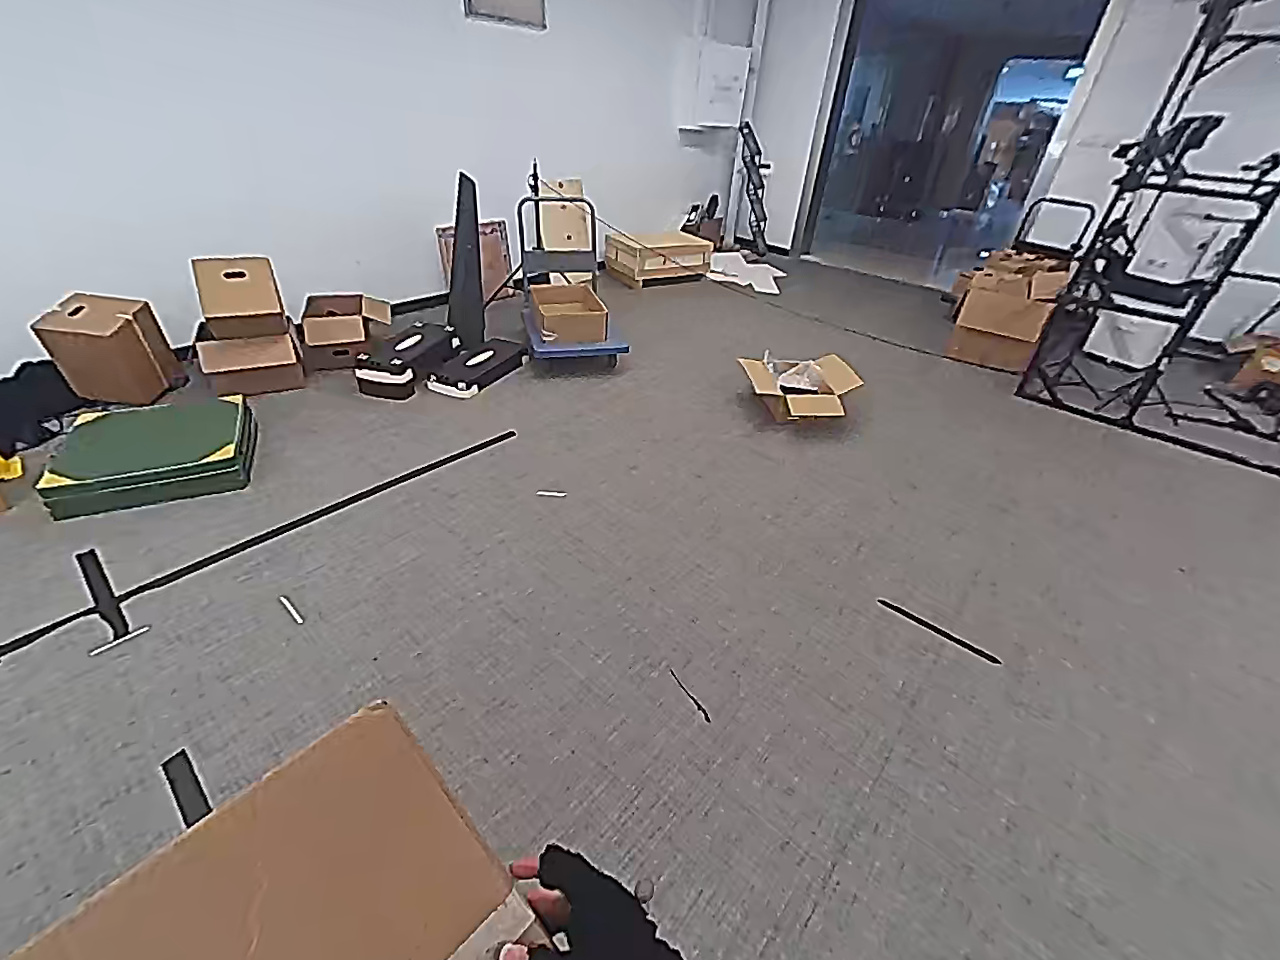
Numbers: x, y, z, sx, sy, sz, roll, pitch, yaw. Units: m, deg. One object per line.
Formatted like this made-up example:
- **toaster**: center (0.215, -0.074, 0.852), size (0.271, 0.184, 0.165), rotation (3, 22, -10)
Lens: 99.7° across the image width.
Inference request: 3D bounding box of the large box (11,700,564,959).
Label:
- **large box**: center (-0.264, 0.425, 0.355), size (0.408, 0.320, 0.320), rotation (-33, 78, -32)
